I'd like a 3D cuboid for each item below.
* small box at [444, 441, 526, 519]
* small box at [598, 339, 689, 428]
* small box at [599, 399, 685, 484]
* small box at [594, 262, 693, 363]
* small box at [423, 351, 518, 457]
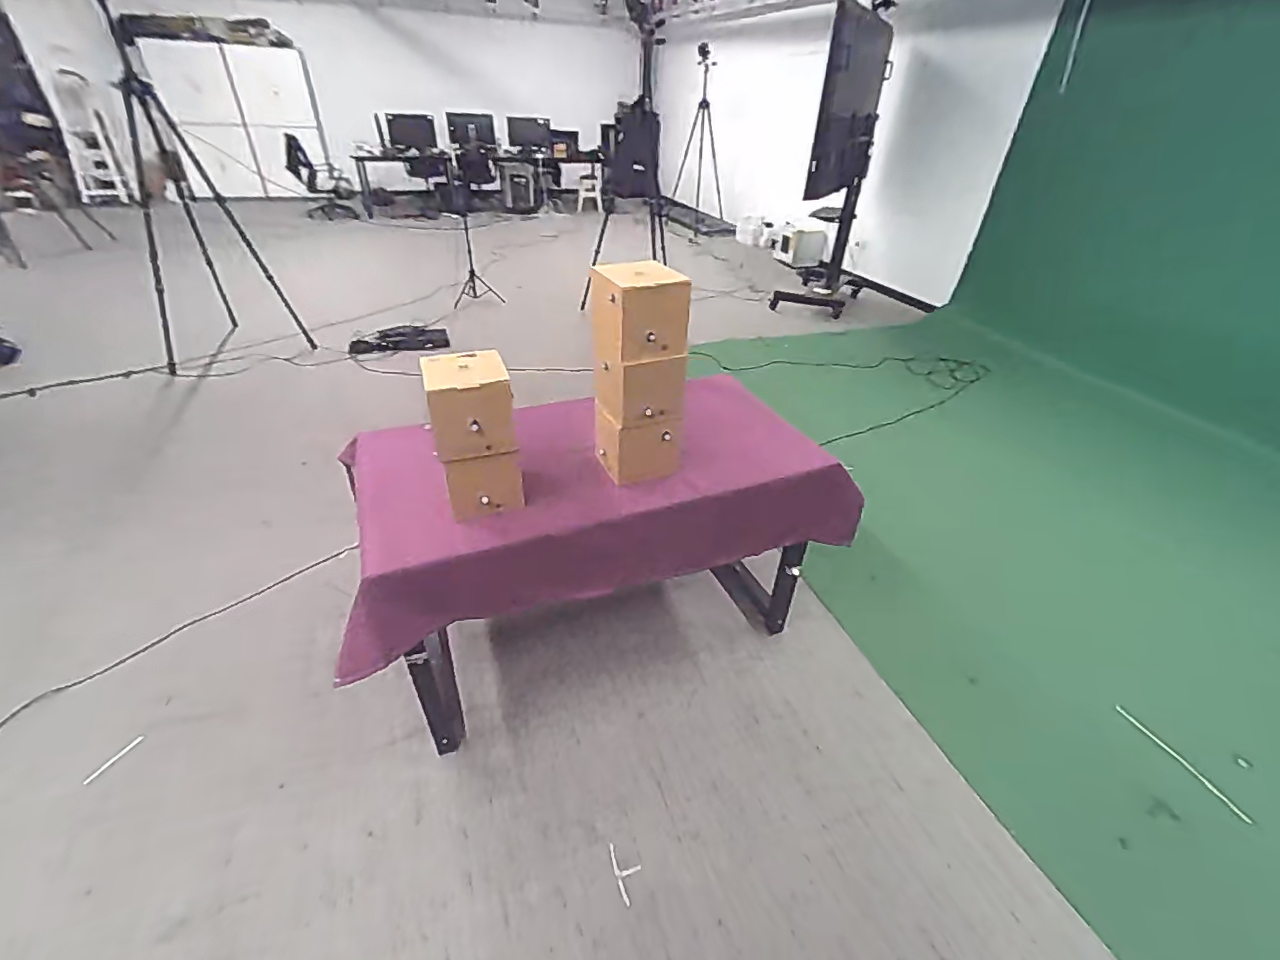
[{"bbox_3d":[-0.370,-0.033,1.275,0.168,0.176,0.179,-12,38,-19],"label":"small box"},{"bbox_3d":[0.002,-0.246,1.313,0.168,0.176,0.179,-14,39,-20],"label":"small box"},{"bbox_3d":[-0.002,-0.112,1.406,0.179,0.176,0.168,-13,38,-20],"label":"small box"},{"bbox_3d":[0.001,-0.381,1.223,0.168,0.176,0.179,-16,40,-22],"label":"small box"},{"bbox_3d":[-0.365,-0.161,1.173,0.168,0.176,0.179,-11,38,-19],"label":"small box"}]
